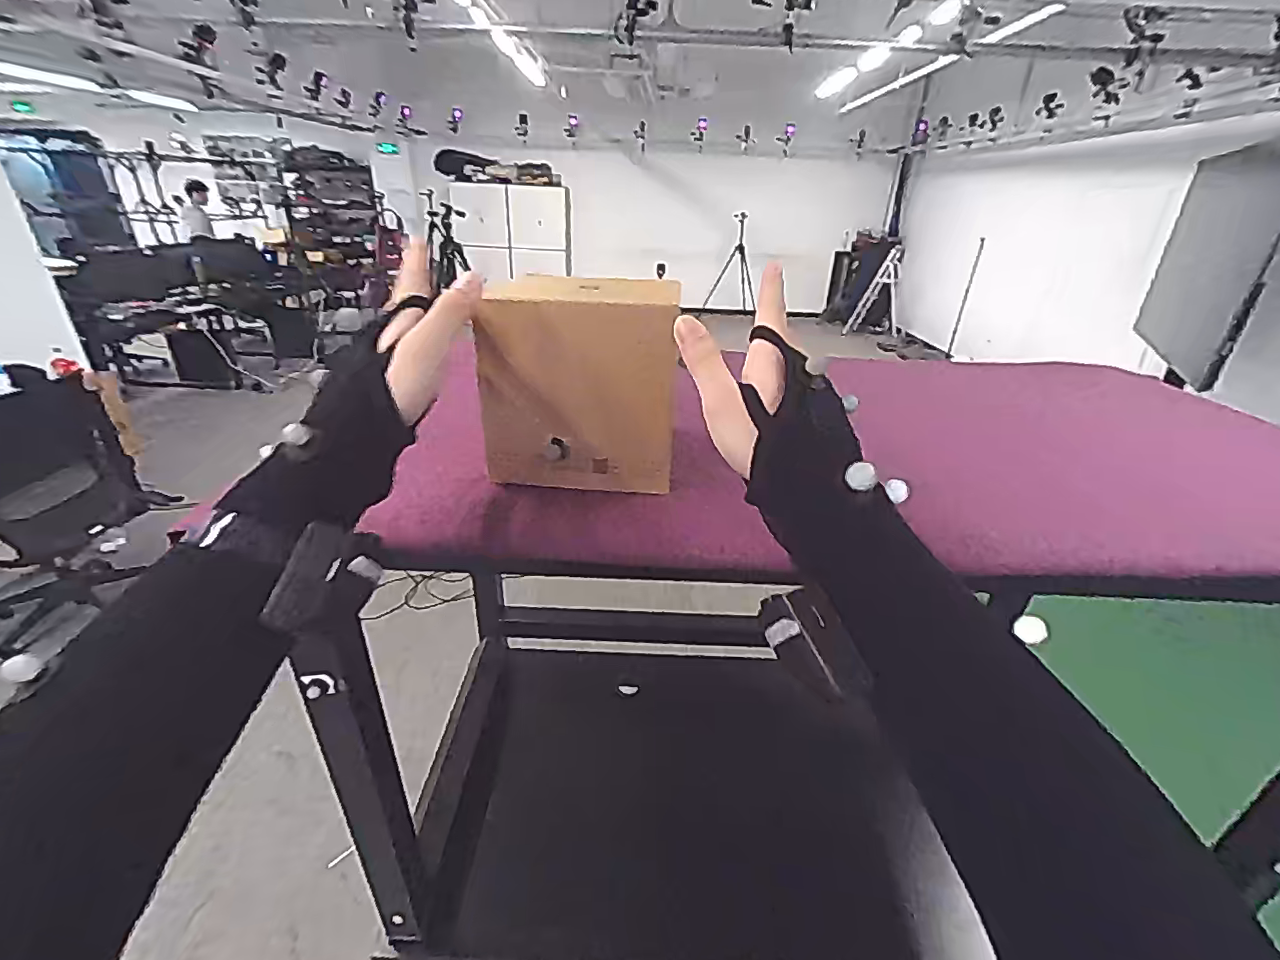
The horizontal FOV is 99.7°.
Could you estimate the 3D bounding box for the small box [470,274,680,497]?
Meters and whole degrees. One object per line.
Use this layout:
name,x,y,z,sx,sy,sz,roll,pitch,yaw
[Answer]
small box,-0.050,-0.100,0.527,0.168,0.176,0.179,3,27,4
